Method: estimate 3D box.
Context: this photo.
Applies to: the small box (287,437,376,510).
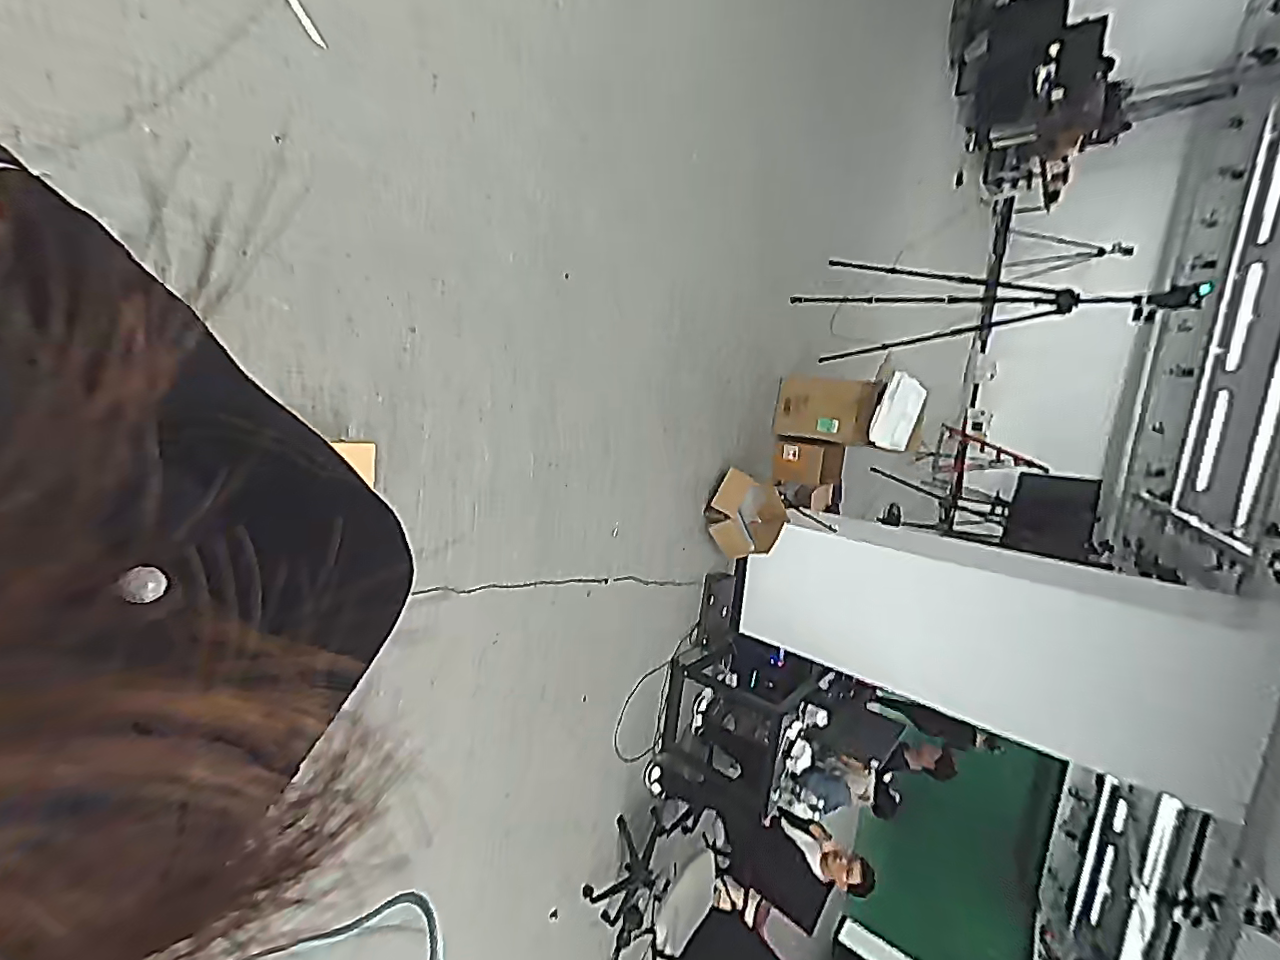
[{"bbox_3d":[-0.852,-0.023,1.490,0.168,0.176,0.179,-3,103,-51],"label":"small box"}]
